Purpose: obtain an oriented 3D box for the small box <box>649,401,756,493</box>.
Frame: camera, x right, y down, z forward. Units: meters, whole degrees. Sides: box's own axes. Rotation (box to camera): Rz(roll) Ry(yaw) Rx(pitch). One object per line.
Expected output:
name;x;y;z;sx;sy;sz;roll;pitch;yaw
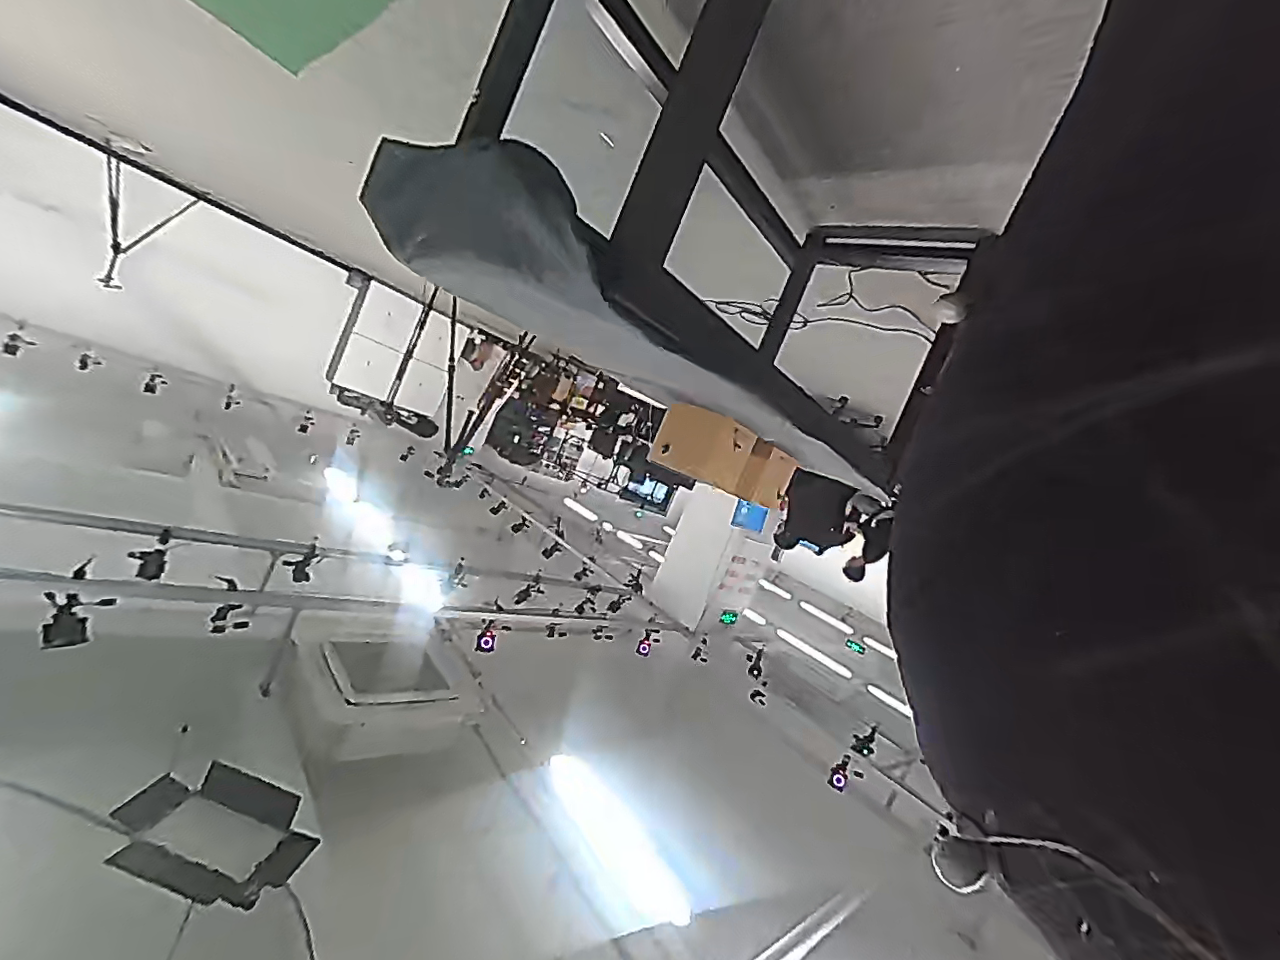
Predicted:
small box;0.159;-0.086;1.351;0.179;0.176;0.168;25;-176;40
